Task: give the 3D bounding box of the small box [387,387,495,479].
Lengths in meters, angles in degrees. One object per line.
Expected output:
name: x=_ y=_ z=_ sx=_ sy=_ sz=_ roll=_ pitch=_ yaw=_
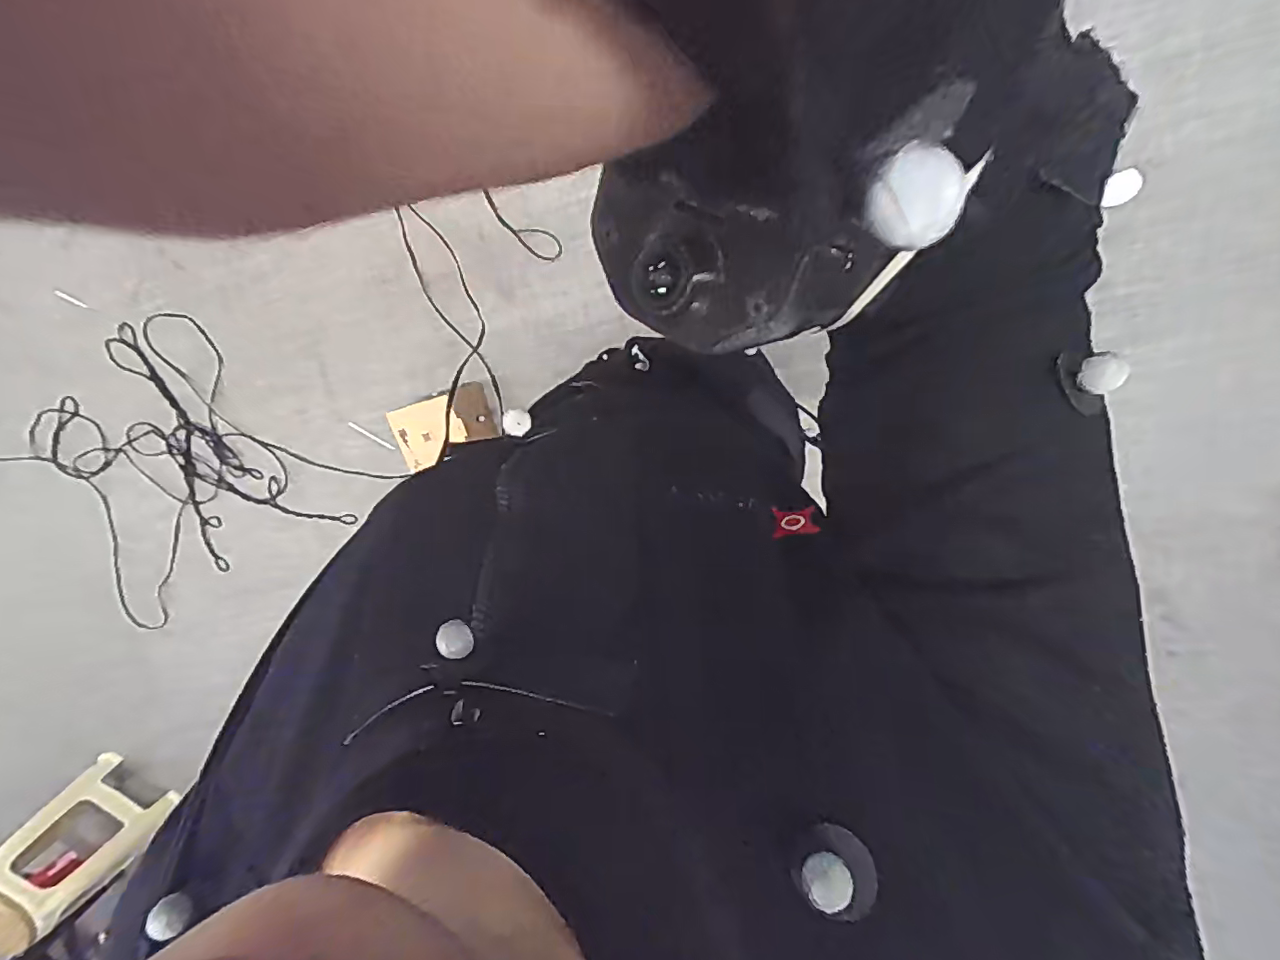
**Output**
small box: x=-0.479 y=-0.122 z=1.342 sx=0.179 sy=0.176 sz=0.168 roll=-14 pitch=106 yaw=13
